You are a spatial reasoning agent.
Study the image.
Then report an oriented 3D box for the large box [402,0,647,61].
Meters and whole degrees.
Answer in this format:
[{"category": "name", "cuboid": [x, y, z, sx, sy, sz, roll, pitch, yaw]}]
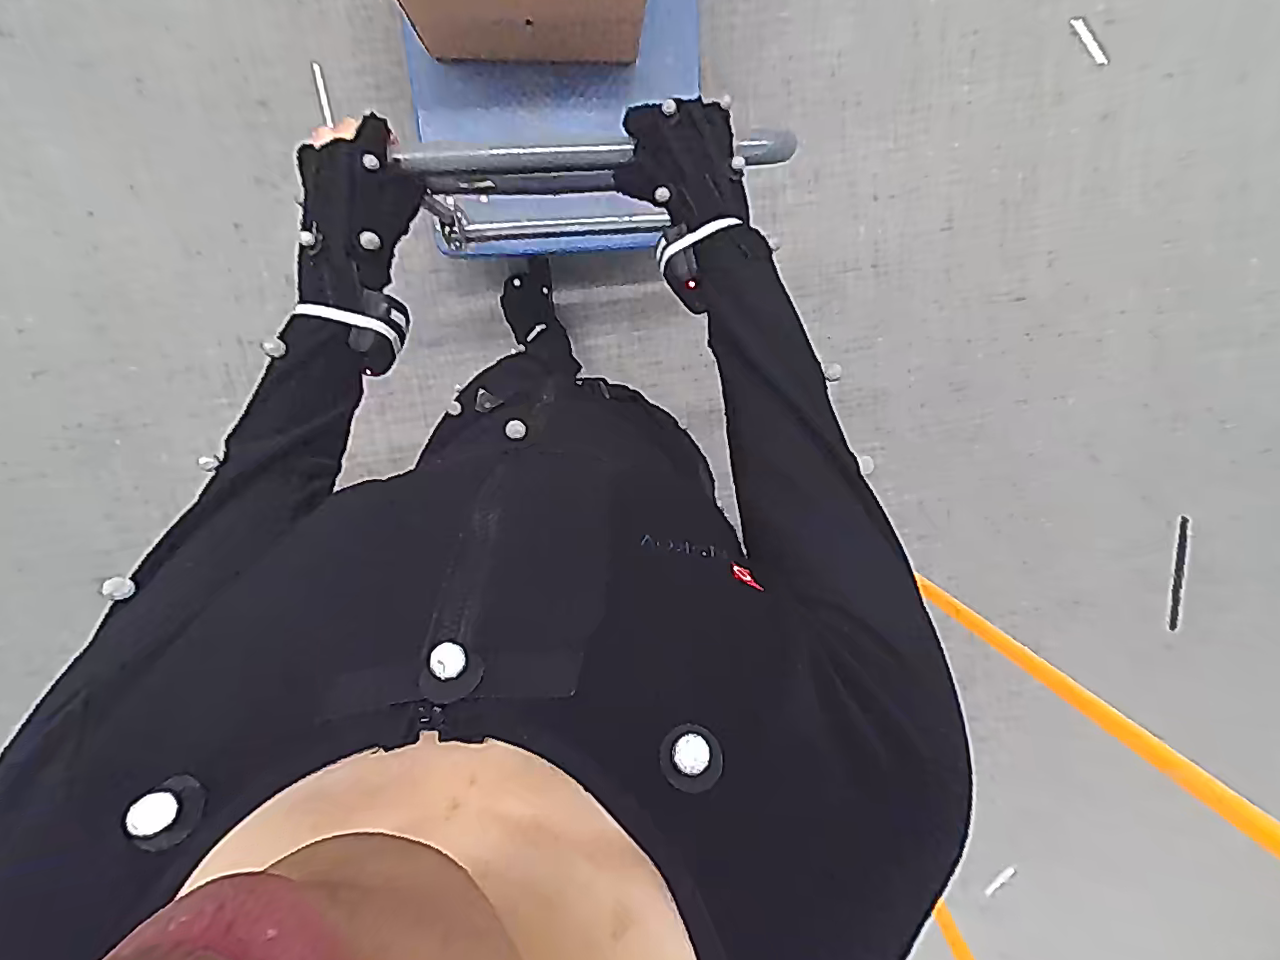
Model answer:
[{"category": "large box", "cuboid": [-0.196, -0.942, 0.894, 0.408, 0.320, 0.320, -3, 105, -4]}]
